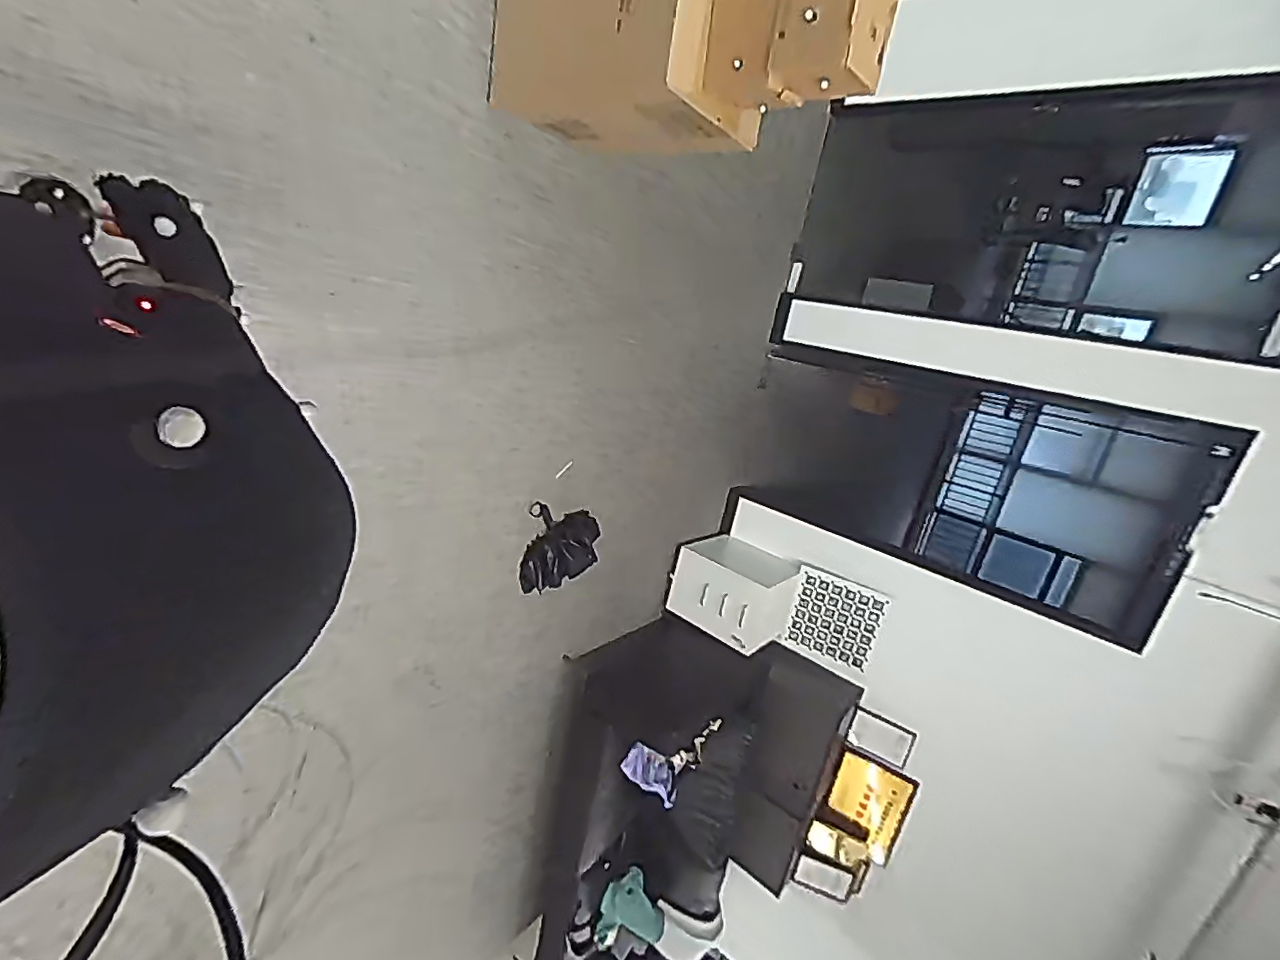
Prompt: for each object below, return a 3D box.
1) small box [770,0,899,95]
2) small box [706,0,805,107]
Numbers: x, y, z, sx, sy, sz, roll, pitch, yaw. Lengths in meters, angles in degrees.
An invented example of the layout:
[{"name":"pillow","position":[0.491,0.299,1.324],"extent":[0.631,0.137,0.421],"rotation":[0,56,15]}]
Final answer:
[{"name":"small box","position":[0.381,-0.887,1.070],"extent":[0.179,0.176,0.168],"rotation":[-15,122,-47]},{"name":"small box","position":[0.259,-0.931,1.170],"extent":[0.168,0.176,0.179],"rotation":[-21,123,-45]}]
